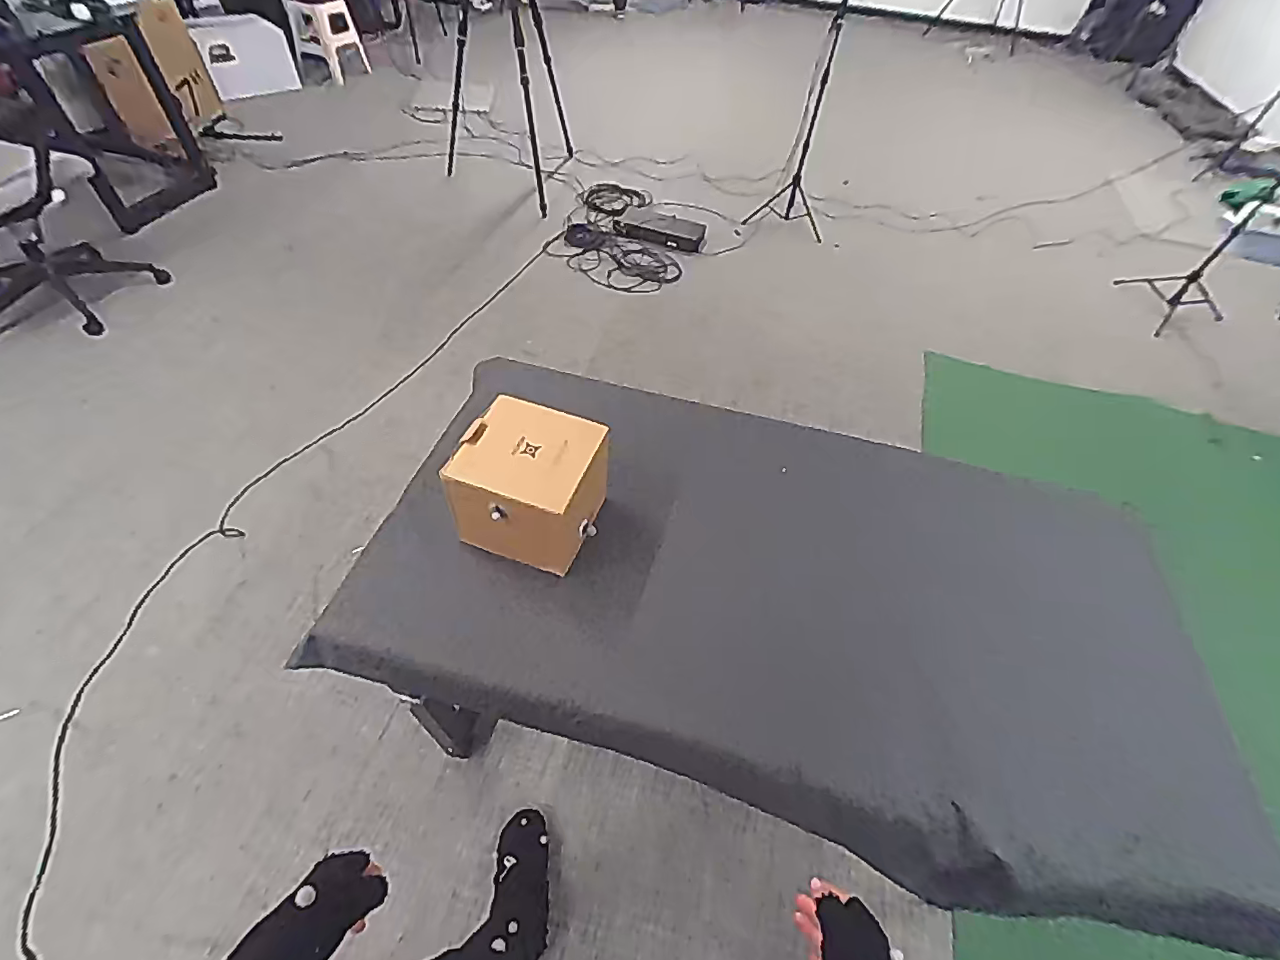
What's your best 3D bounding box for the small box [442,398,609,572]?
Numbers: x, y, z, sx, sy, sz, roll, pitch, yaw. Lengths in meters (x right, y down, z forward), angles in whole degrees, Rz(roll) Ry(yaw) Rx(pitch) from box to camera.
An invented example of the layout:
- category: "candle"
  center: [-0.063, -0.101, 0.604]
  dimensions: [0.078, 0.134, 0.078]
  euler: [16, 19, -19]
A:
- category: "small box"
  center: [-0.158, 0.012, 0.799]
  dimensions: [0.179, 0.176, 0.168]
  euler: [18, 53, 8]
